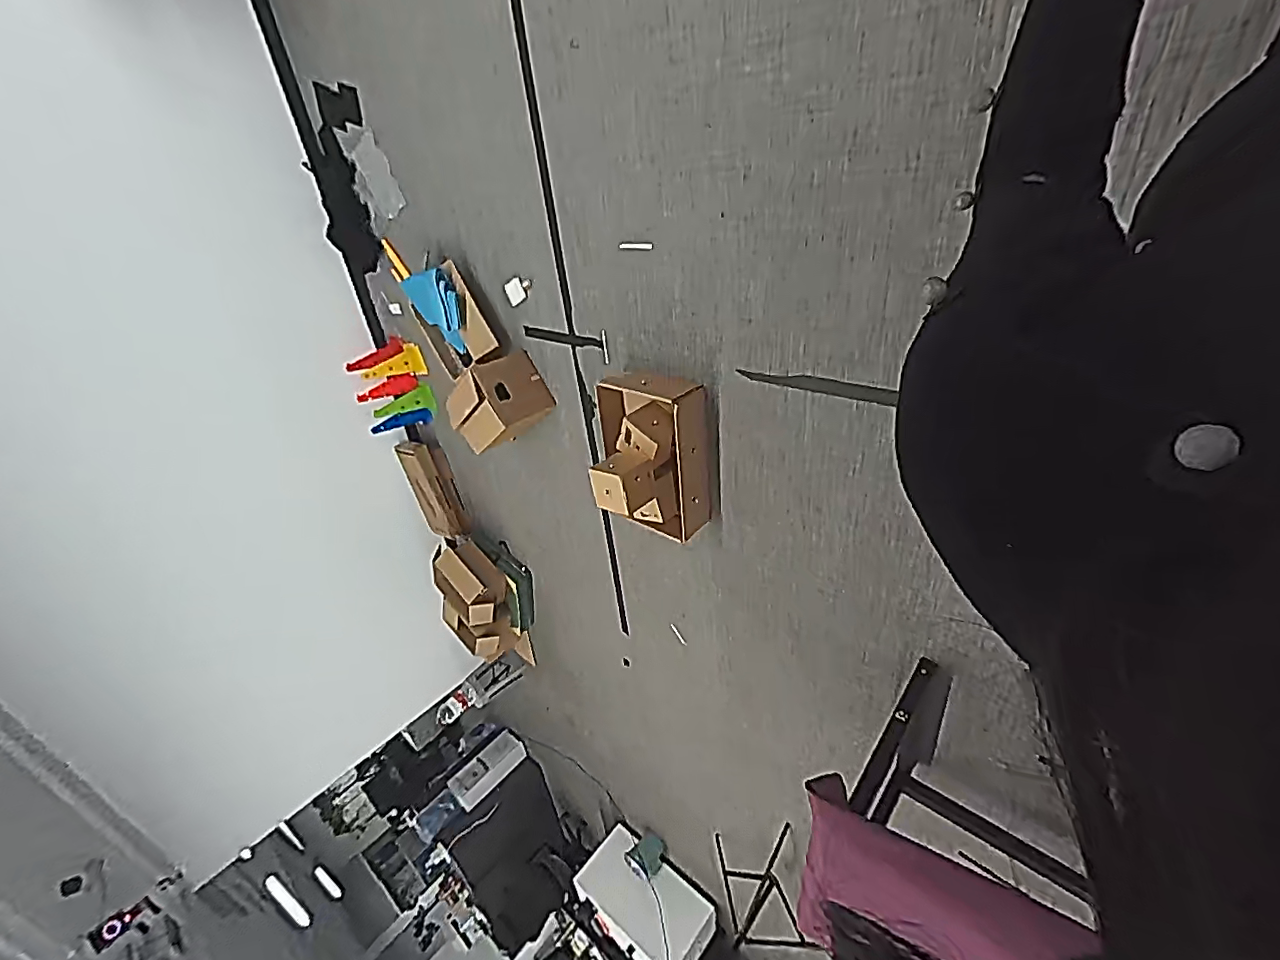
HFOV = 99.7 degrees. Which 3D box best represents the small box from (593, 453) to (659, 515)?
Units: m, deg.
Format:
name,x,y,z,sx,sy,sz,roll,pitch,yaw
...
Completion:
name,x,y,z,sx,sy,sz,roll,pitch,yaw
small box,-0.044,0.010,2.038,0.179,0.176,0.168,13,124,43
